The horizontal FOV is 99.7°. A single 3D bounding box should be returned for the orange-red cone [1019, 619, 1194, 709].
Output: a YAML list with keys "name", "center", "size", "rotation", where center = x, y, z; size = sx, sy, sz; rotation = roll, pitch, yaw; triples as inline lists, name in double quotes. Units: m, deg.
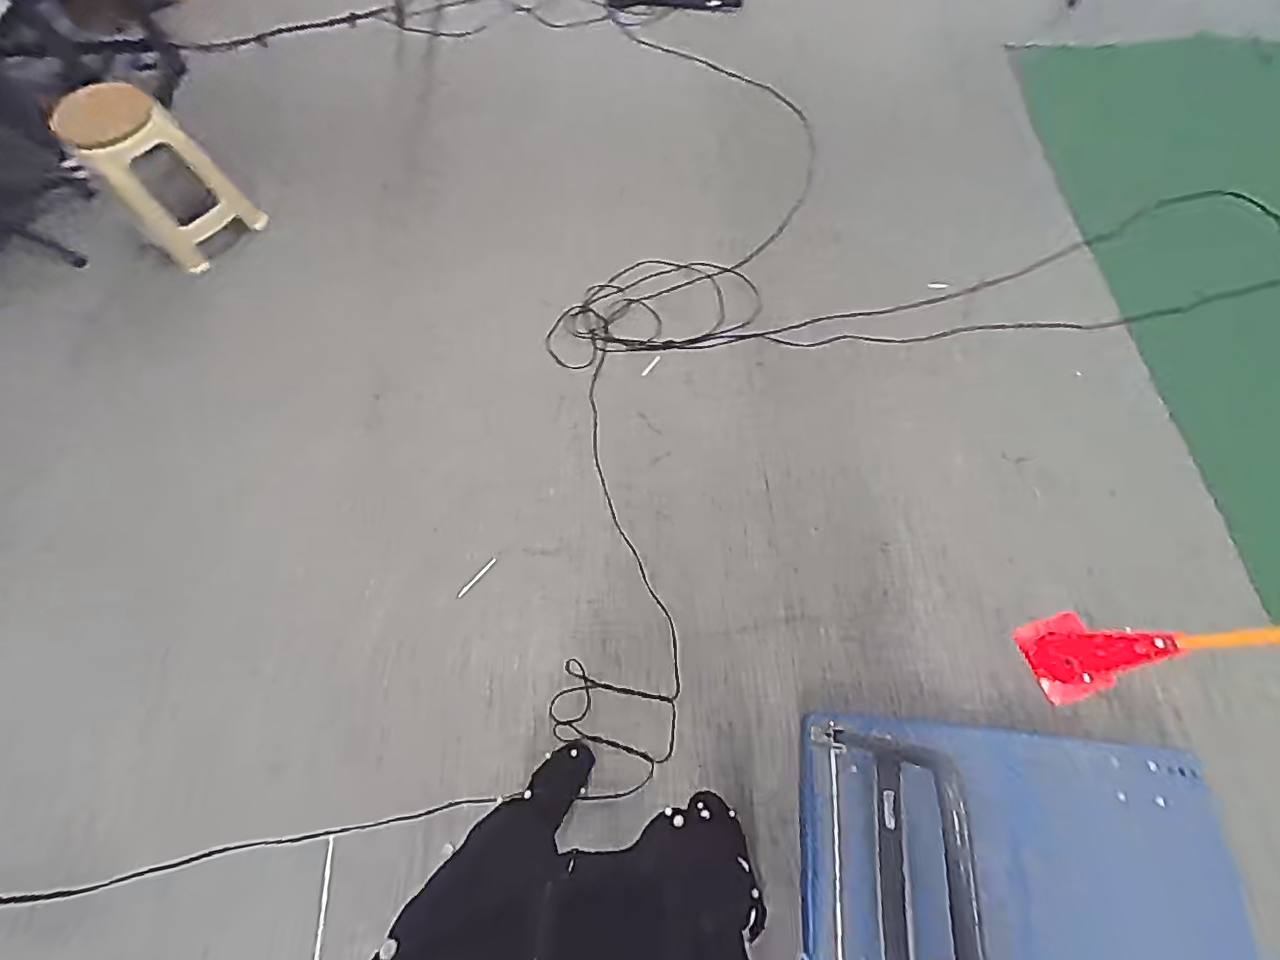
- name: "orange-red cone"
  center: [1.137, 0.419, 1.287]
  size: [0.198, 0.360, 0.199]
  rotation: [-16, 66, -6]
